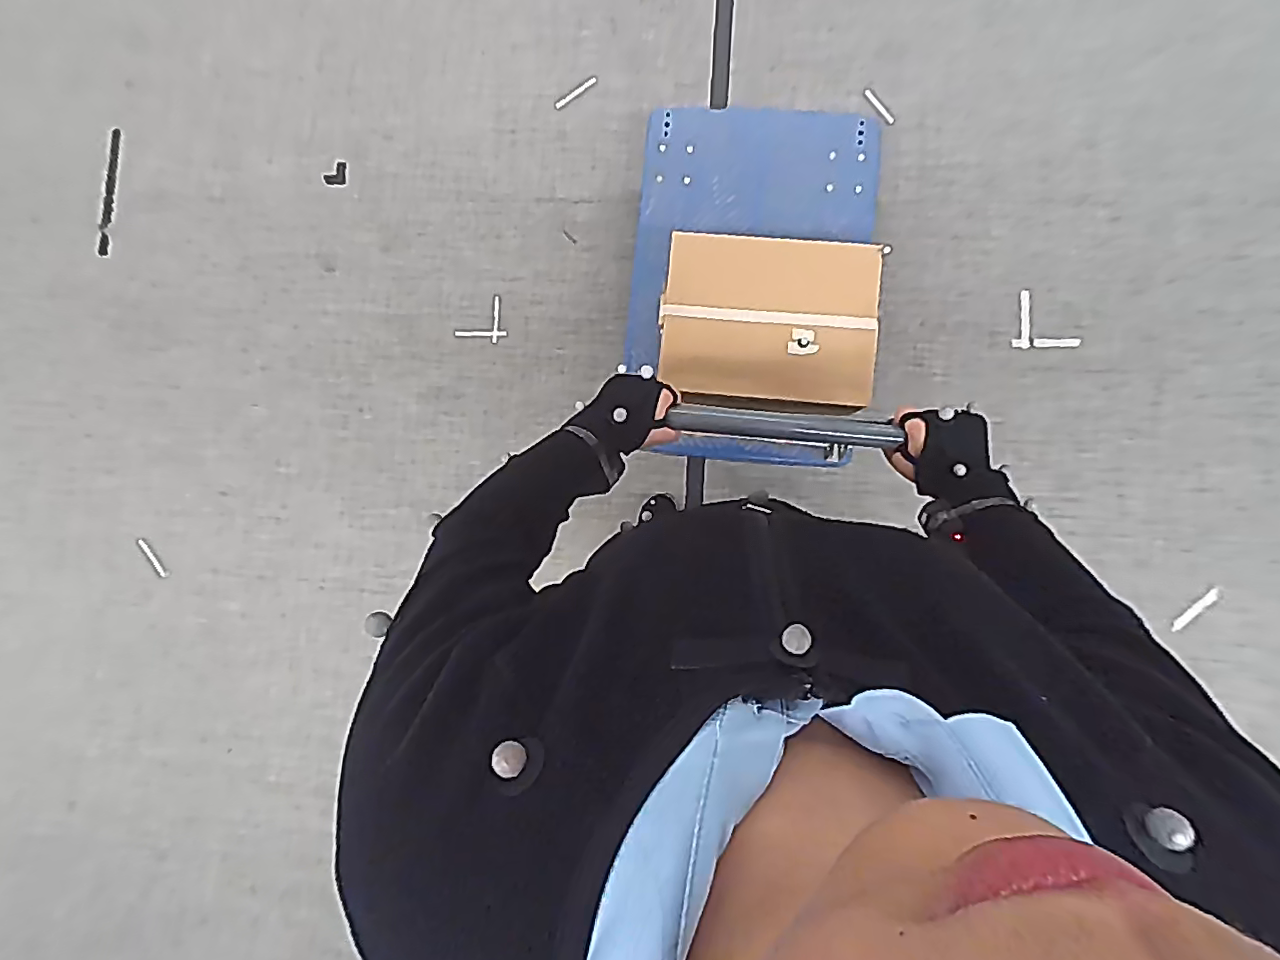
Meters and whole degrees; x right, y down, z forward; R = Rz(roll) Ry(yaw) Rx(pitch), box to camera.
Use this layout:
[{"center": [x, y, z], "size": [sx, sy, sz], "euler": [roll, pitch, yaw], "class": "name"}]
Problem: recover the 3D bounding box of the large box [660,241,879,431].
[{"center": [0.253, -0.292, 1.186], "size": [0.408, 0.320, 0.320], "euler": [6, 89, 3], "class": "large box"}]
